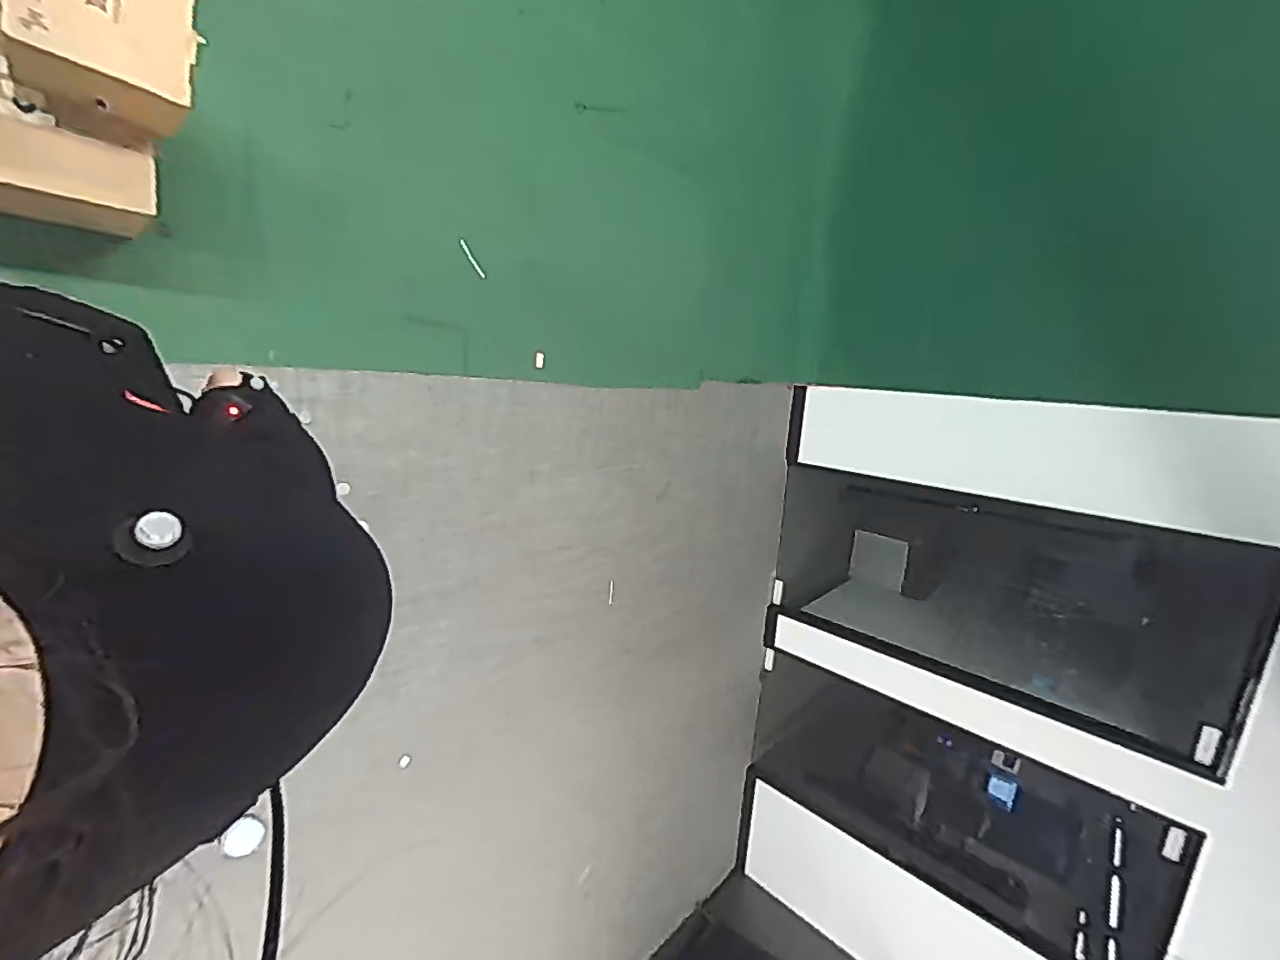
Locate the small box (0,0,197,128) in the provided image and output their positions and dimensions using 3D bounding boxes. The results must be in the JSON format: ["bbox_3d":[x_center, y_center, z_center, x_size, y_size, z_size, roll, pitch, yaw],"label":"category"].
[{"bbox_3d":[-0.730,-0.610,0.730,0.179,0.176,0.168,2,98,-48],"label":"small box"}]

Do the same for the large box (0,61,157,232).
[{"bbox_3d":[-1.012,-0.591,0.796,0.408,0.320,0.320,-6,106,-48],"label":"large box"}]
